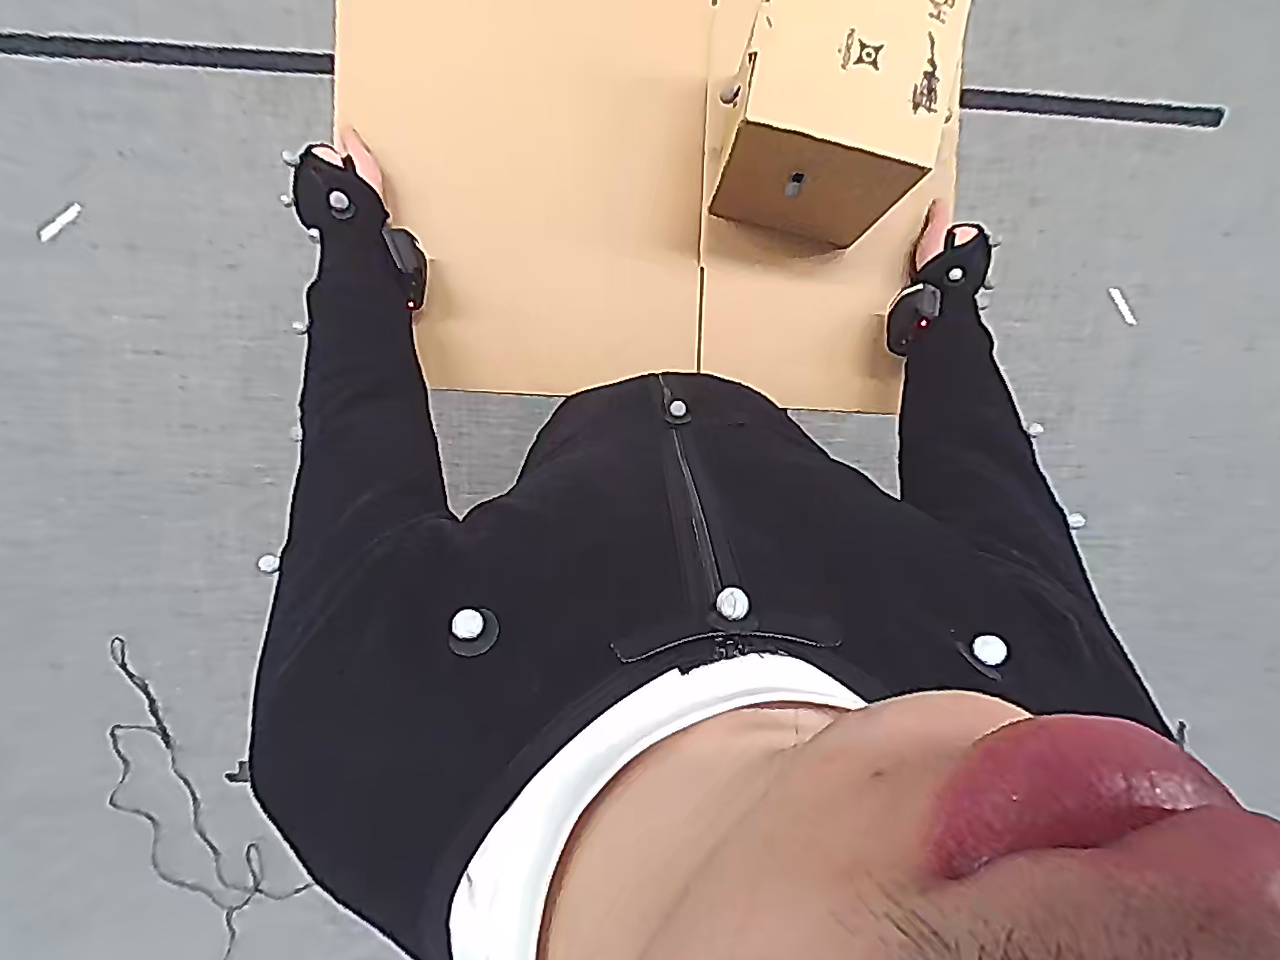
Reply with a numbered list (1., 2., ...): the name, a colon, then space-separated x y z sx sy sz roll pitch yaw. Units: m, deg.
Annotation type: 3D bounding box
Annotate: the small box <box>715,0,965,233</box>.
1. small box: 0.184 -0.378 0.552 0.179 0.176 0.168 12 91 -2
